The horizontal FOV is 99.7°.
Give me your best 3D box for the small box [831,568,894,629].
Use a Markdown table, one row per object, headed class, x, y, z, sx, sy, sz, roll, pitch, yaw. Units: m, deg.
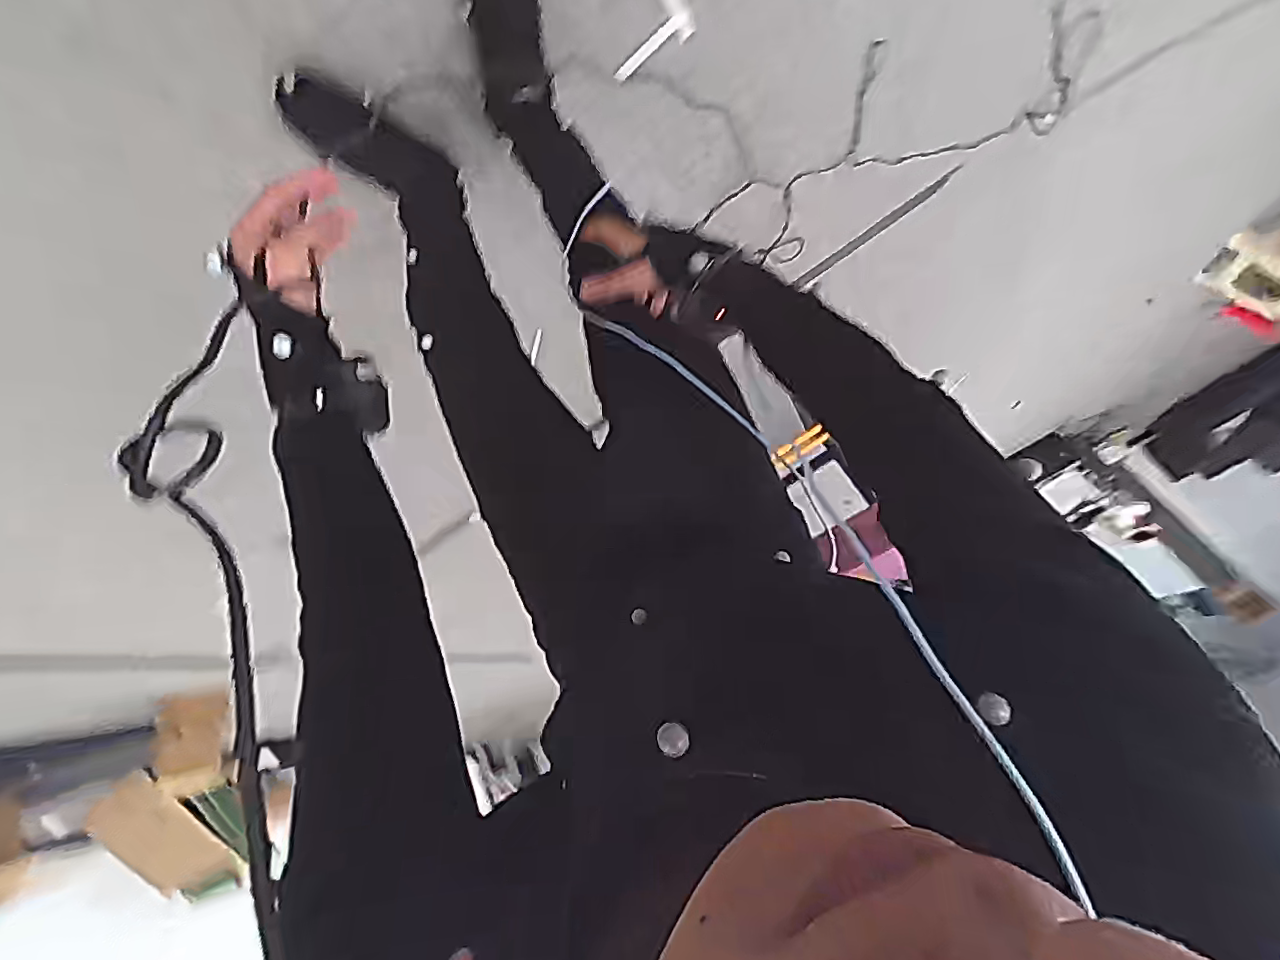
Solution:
| class | x | y | z | sx | sy | sz | roll | pitch | yaw |
| --- | --- | --- | --- | --- | --- | --- | --- | --- | --- |
| small box | 0.865 | 0.460 | 2.108 | 0.168 | 0.176 | 0.179 | -33 | 152 | 10 |
